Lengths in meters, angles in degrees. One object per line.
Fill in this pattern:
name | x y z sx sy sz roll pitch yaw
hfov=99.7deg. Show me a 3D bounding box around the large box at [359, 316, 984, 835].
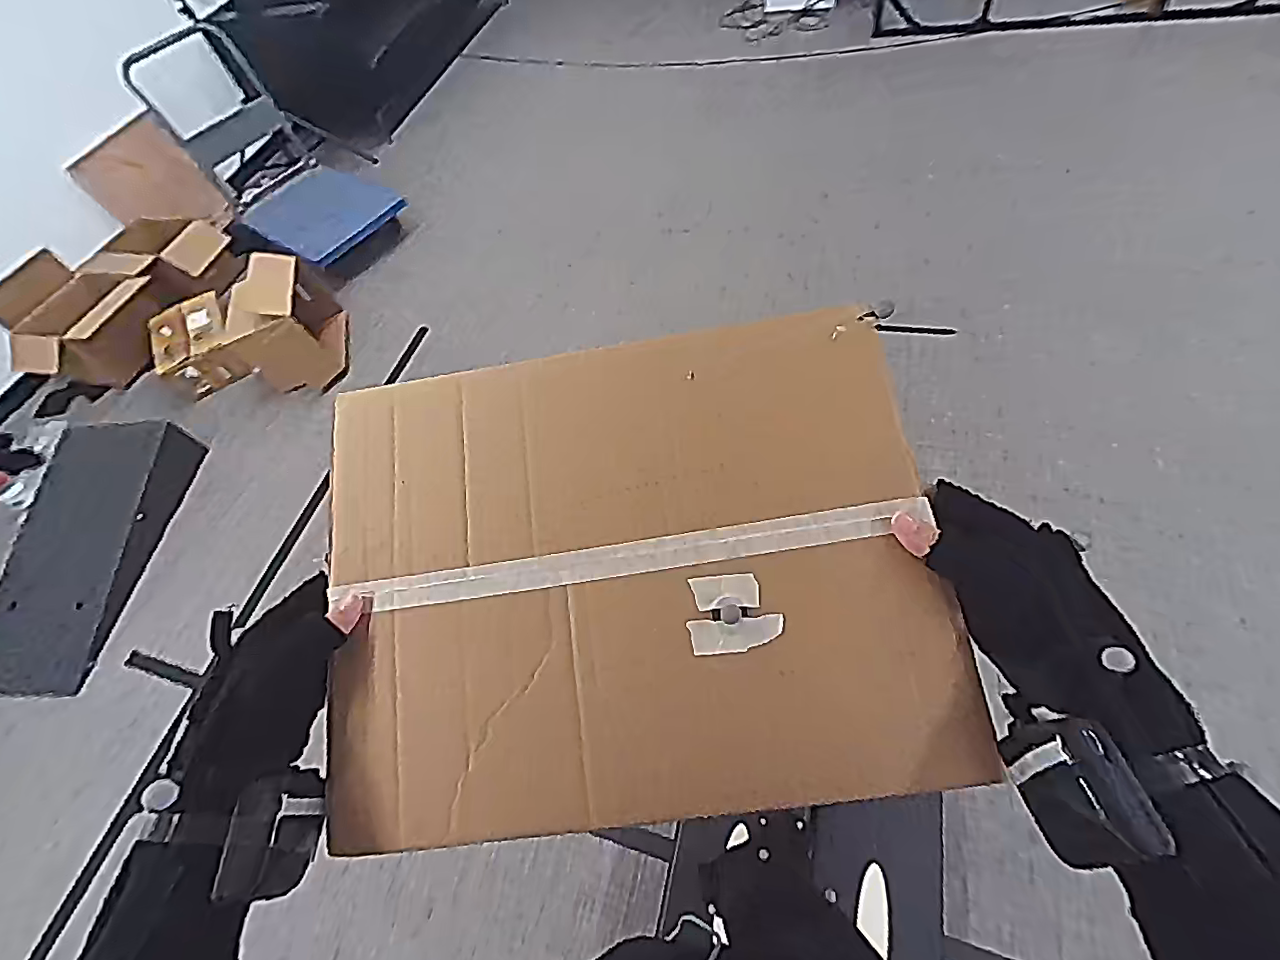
large box | 0.008 0.092 0.520 0.408 0.320 0.320 -9 75 4
